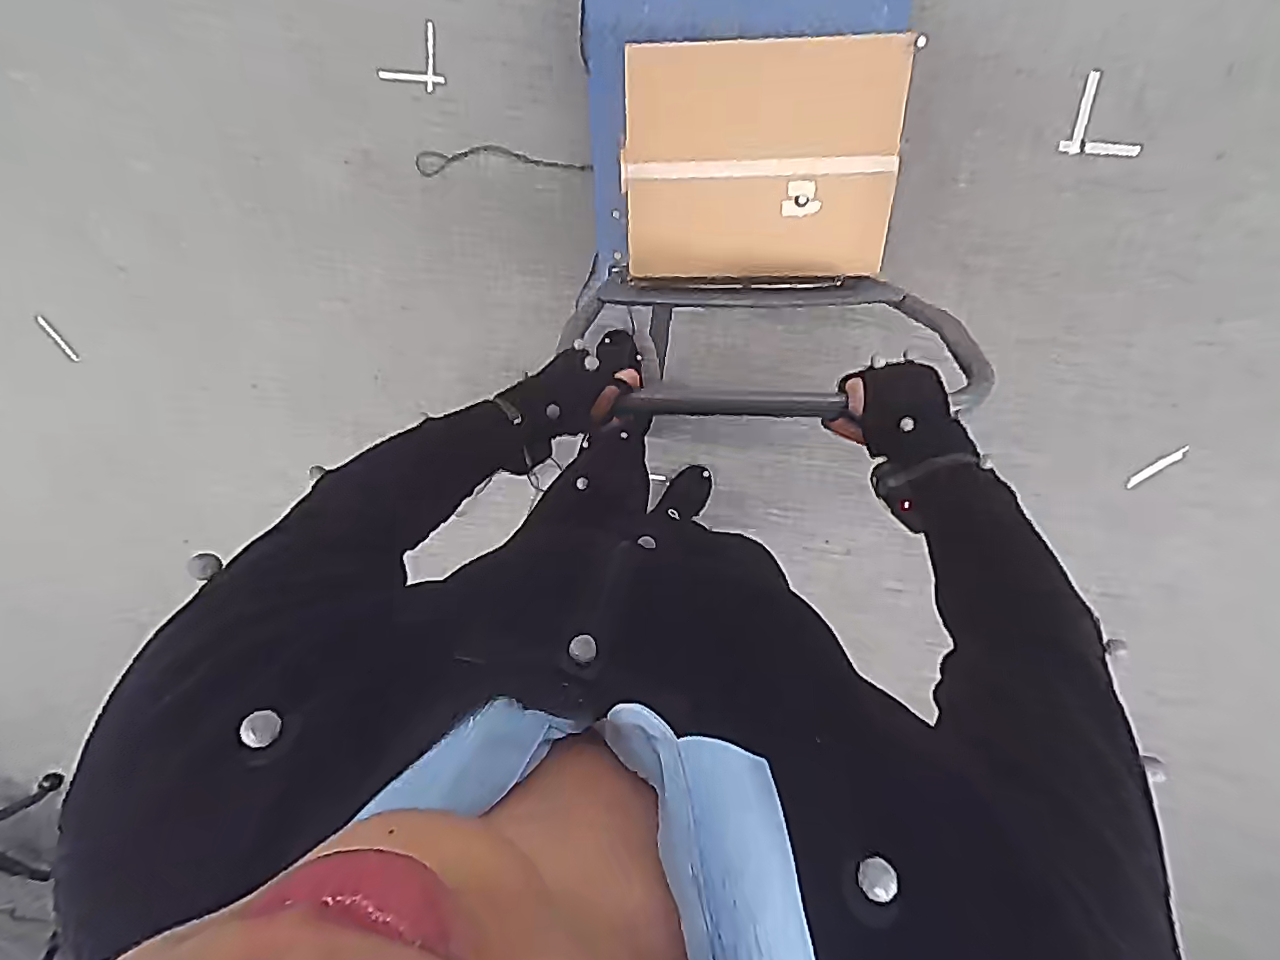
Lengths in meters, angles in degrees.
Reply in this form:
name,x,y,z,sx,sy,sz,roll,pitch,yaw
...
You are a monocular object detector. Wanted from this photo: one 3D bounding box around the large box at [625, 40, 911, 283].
name,x,y,z,sx,sy,sz,roll,pitch,yaw
large box,0.190,-0.528,0.954,0.408,0.320,0.320,1,115,4
